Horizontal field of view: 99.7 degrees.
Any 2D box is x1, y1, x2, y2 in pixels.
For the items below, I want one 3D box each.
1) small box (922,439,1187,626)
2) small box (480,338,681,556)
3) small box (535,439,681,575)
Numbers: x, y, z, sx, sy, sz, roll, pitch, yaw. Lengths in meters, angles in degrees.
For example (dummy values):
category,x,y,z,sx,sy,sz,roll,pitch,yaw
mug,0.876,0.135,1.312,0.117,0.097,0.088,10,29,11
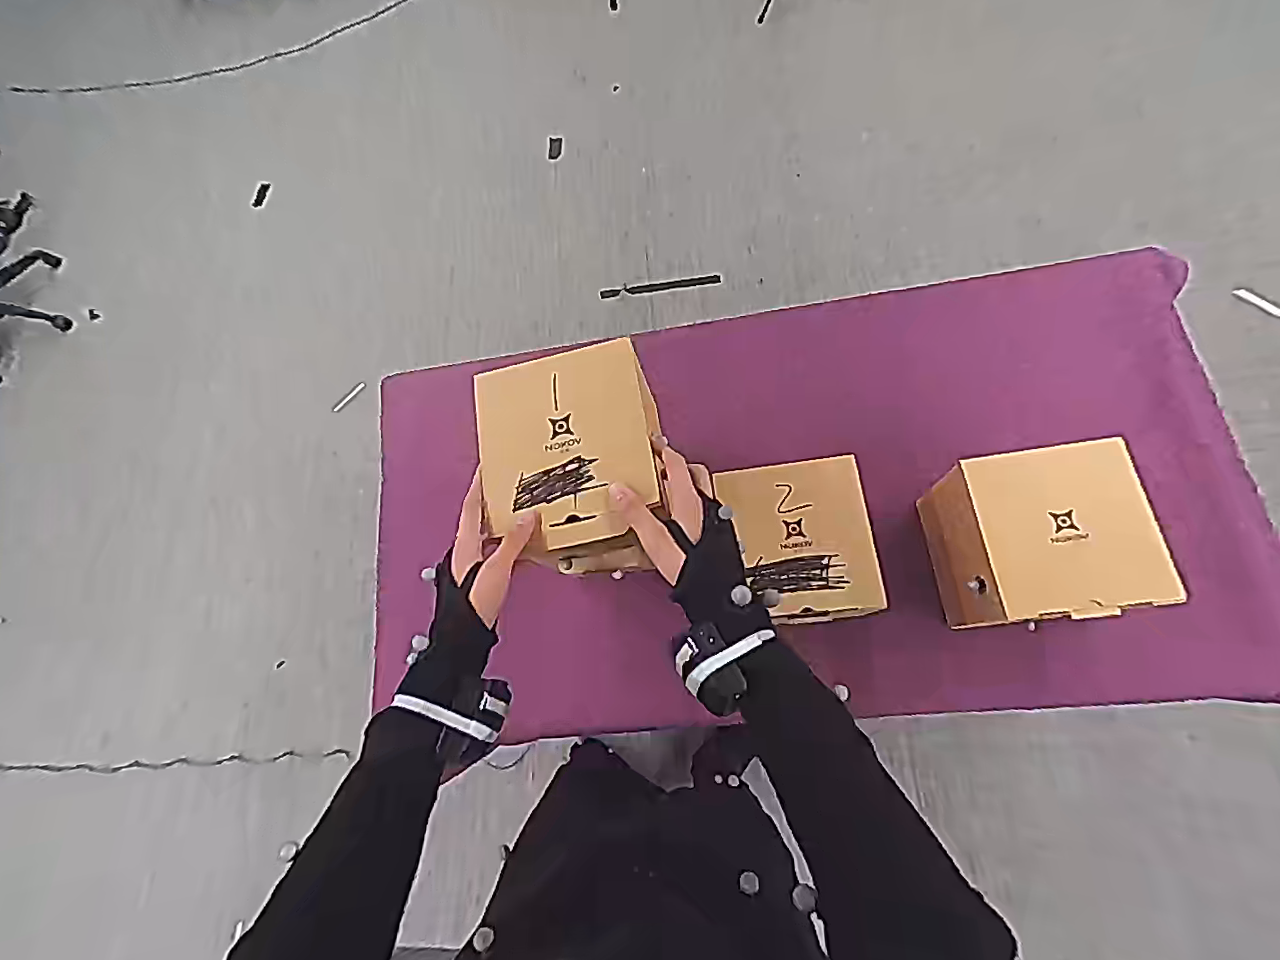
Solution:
category,x,y,z,sx,sy,sz,roll,pitch,yaw
small box,0.457,0.072,0.635,0.168,0.176,0.179,-9,72,8
small box,-0.056,-0.020,0.586,0.168,0.176,0.179,-12,71,7
small box,-0.039,0.027,0.743,0.168,0.176,0.179,-7,72,9
